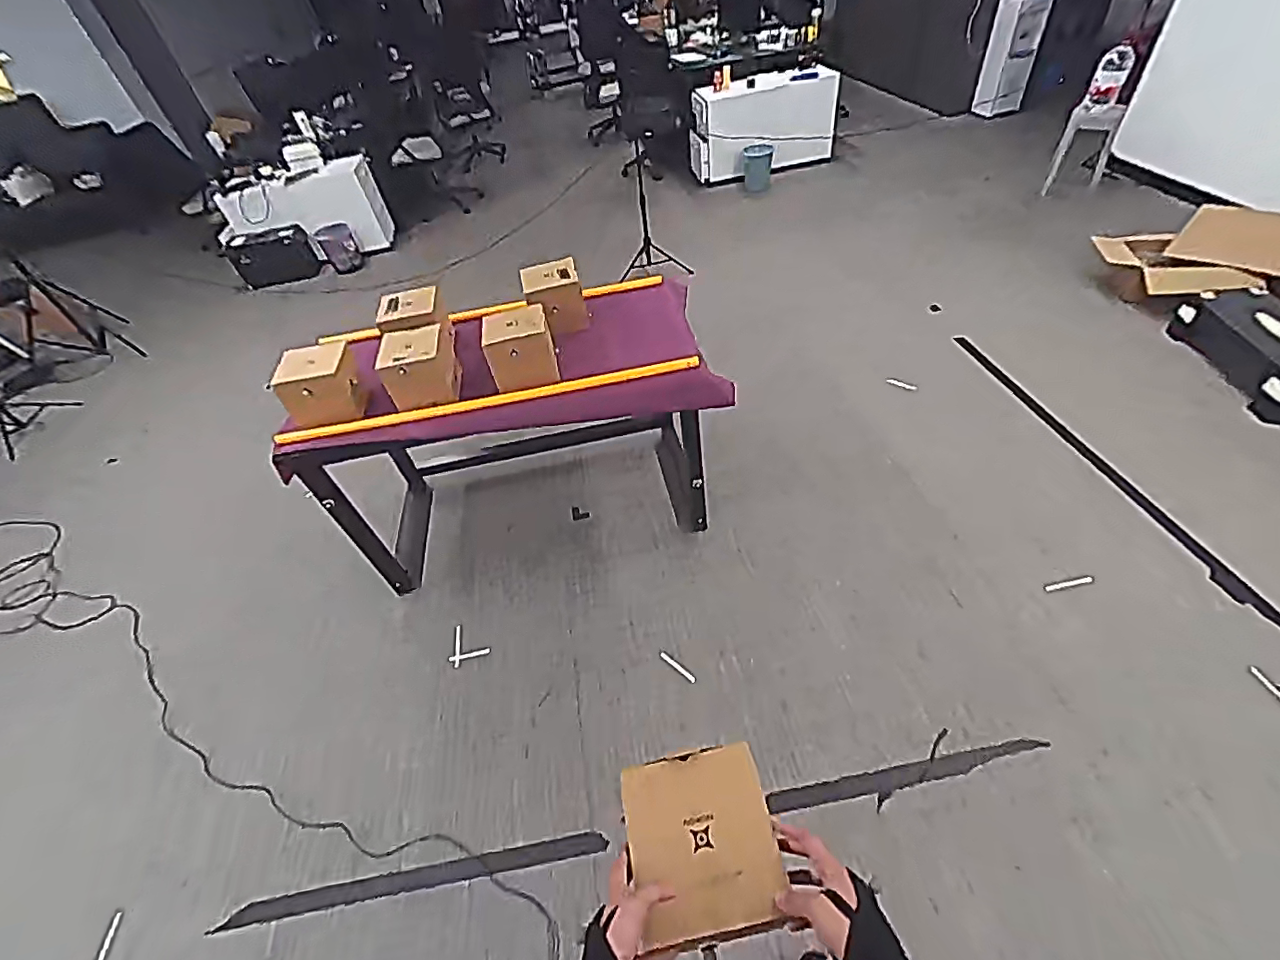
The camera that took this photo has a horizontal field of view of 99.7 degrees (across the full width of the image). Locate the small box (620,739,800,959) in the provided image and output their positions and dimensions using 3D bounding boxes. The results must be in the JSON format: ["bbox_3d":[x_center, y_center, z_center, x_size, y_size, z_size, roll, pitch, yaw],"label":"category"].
[{"bbox_3d":[0.076,0.449,0.657,0.168,0.176,0.179,-12,45,-3],"label":"small box"}]

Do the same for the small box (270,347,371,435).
[{"bbox_3d":[-0.898,-0.252,1.543,0.179,0.176,0.168,-13,46,-2],"label":"small box"}]

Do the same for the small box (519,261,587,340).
[{"bbox_3d":[-0.273,-0.566,1.726,0.179,0.176,0.168,-15,47,-2],"label":"small box"}]

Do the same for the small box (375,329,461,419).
[{"bbox_3d":[-0.623,-0.301,1.541,0.168,0.176,0.179,-13,46,-1],"label":"small box"}]

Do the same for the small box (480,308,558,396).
[{"bbox_3d":[-0.343,-0.361,1.544,0.179,0.176,0.168,-13,45,-2],"label":"small box"}]
